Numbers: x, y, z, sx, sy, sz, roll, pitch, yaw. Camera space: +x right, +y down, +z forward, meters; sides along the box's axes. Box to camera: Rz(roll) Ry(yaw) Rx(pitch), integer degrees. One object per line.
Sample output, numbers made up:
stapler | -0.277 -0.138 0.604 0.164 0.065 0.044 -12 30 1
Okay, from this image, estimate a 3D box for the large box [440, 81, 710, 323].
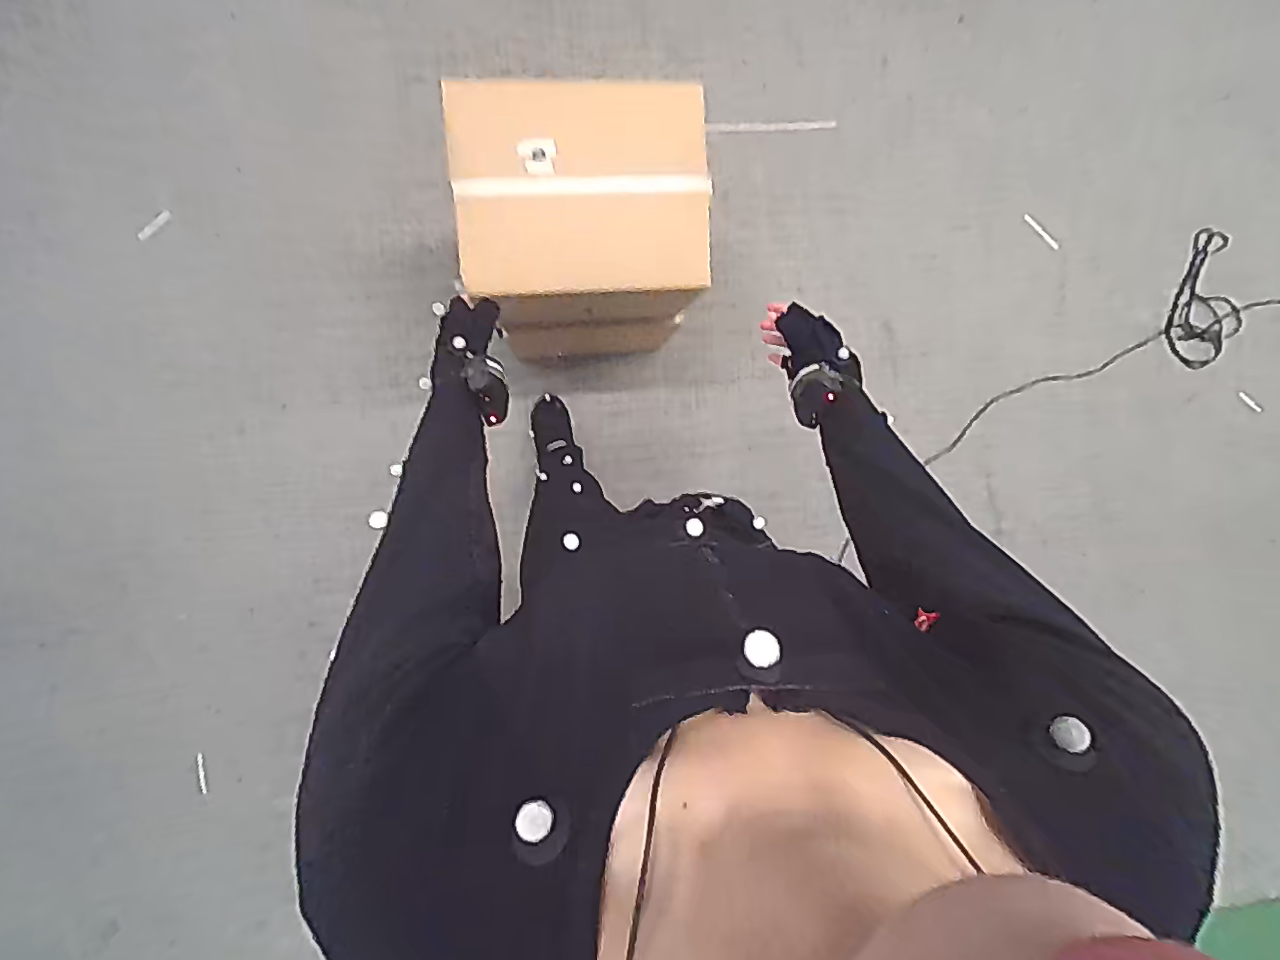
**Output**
large box | -0.105 -0.473 0.991 0.408 0.320 0.320 -4 98 -5
